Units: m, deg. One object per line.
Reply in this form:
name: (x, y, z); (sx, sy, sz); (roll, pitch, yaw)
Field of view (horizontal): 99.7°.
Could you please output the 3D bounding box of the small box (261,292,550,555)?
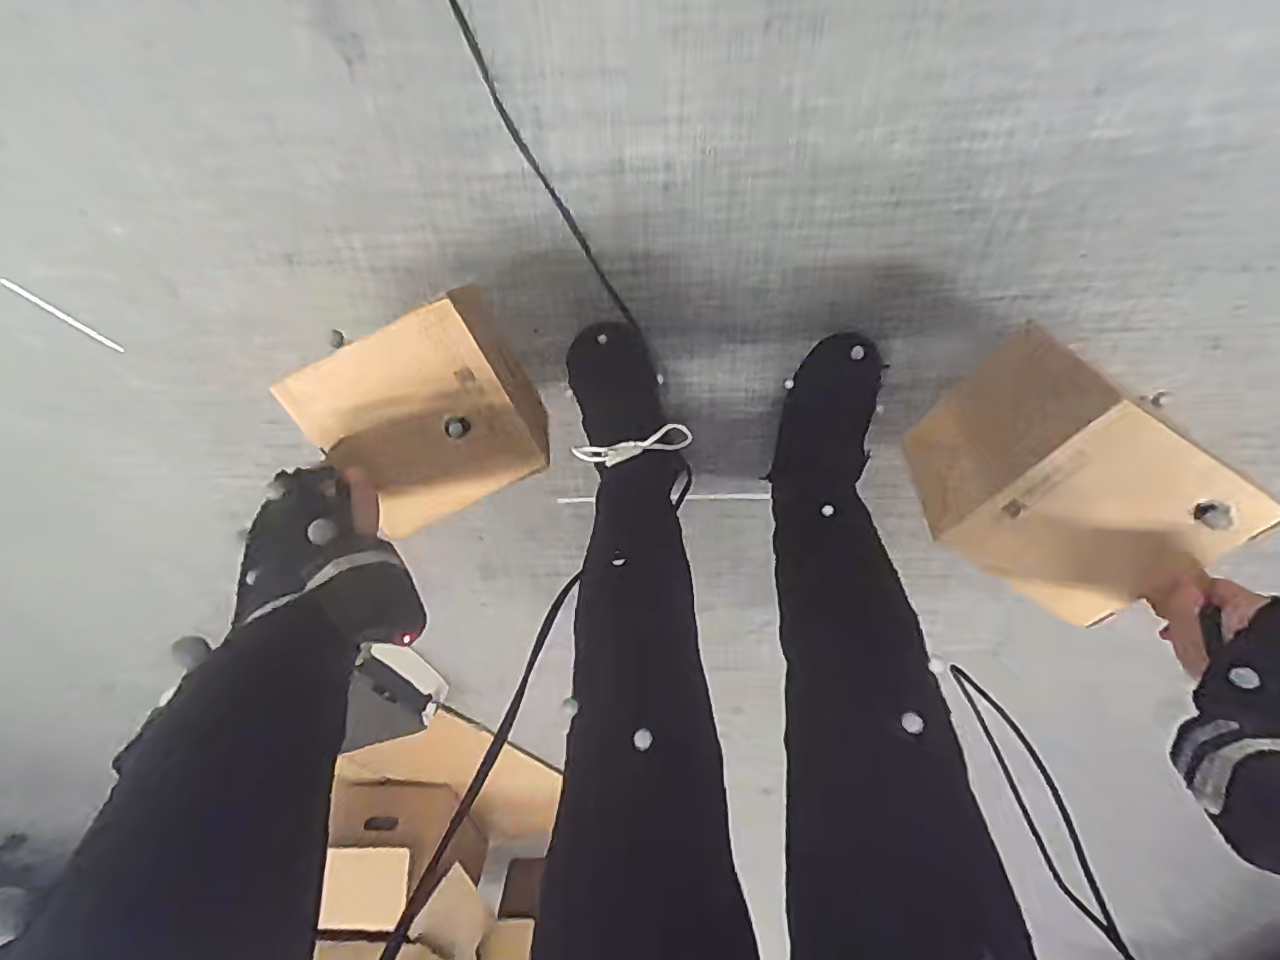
small box: (-0.196, -0.064, 0.520); (0.176, 0.179, 0.168); (-26, 114, 5)
